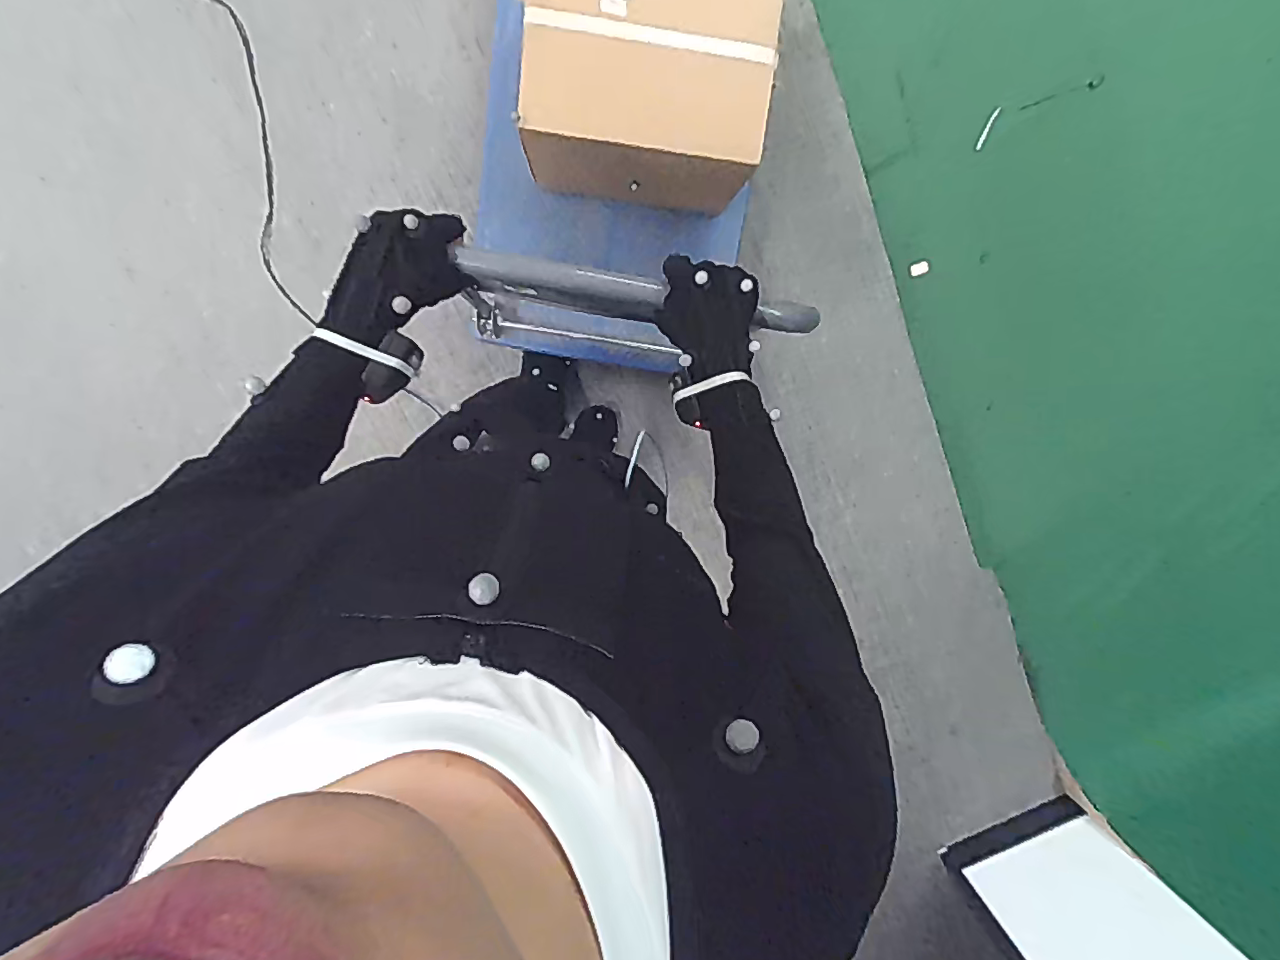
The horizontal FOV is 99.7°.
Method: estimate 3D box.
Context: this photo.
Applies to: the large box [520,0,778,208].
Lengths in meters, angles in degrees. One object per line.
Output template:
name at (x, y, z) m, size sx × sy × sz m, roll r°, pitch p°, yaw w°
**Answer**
large box at (0.007, -0.729, 1.006) m, size 0.408 × 0.320 × 0.320 m, roll 5°, pitch 101°, yaw -6°
